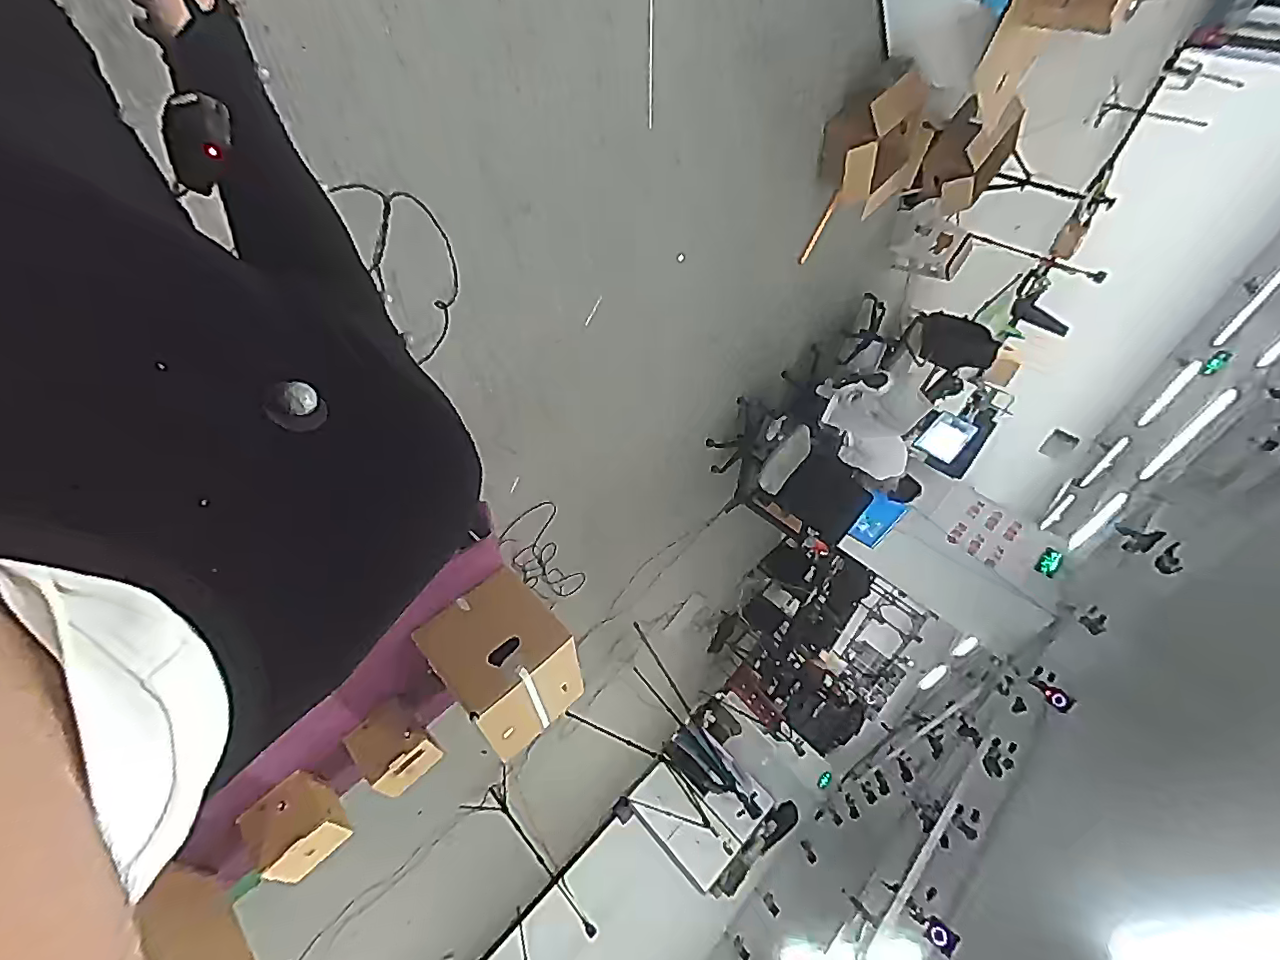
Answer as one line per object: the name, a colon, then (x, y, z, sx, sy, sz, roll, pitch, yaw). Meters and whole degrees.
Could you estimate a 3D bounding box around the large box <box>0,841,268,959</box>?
large box: (-1.087, 1.037, 1.138, 0.320, 0.320, 0.408, -38, 149, -30)
